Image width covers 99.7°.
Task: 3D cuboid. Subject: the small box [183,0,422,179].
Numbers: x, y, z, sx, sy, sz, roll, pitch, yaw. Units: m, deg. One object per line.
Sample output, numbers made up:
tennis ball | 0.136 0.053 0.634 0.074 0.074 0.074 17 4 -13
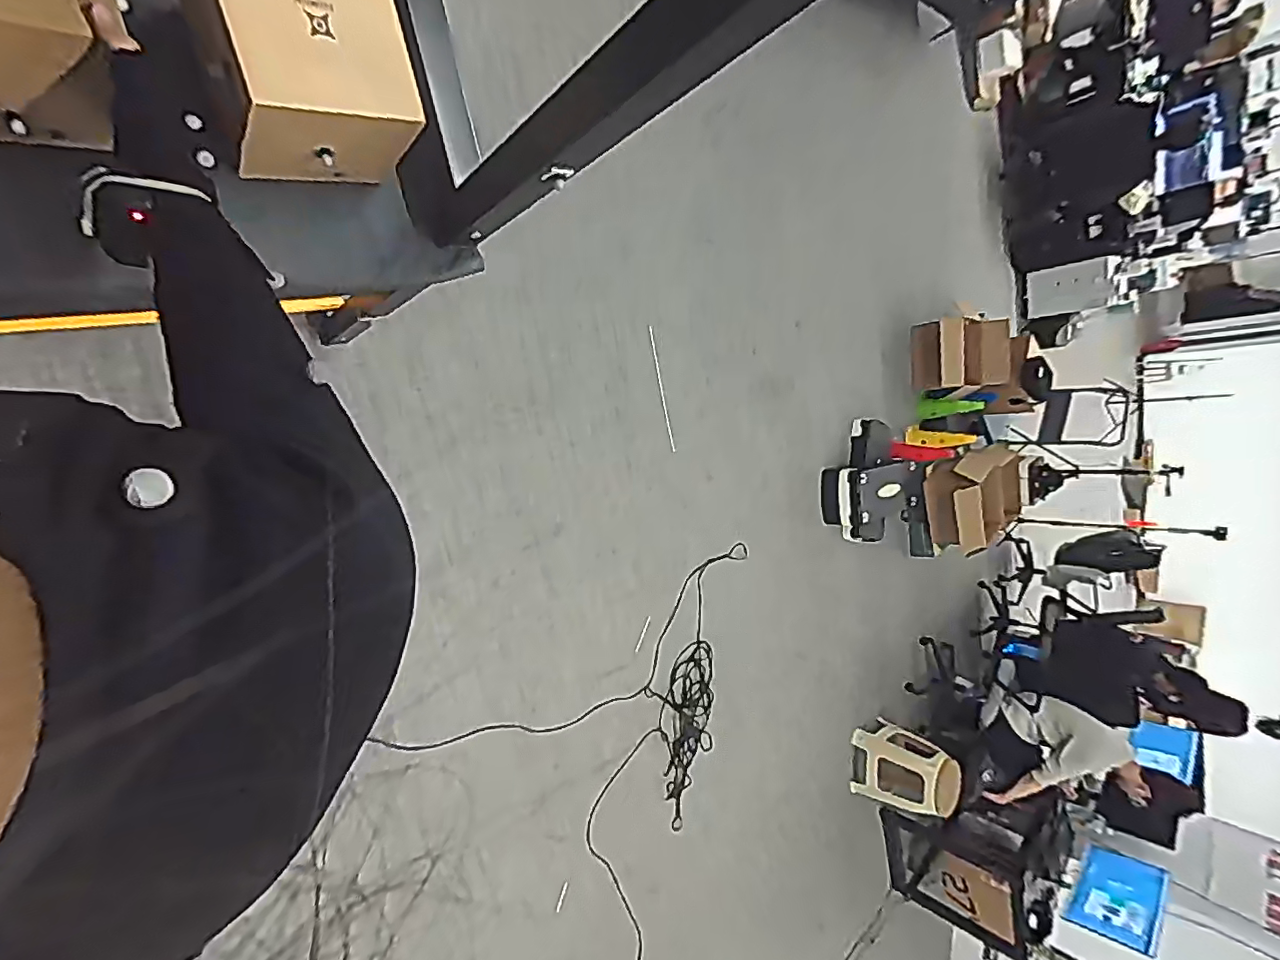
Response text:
small box | -0.367 -0.452 0.590 0.168 0.176 0.179 -23 105 -38
